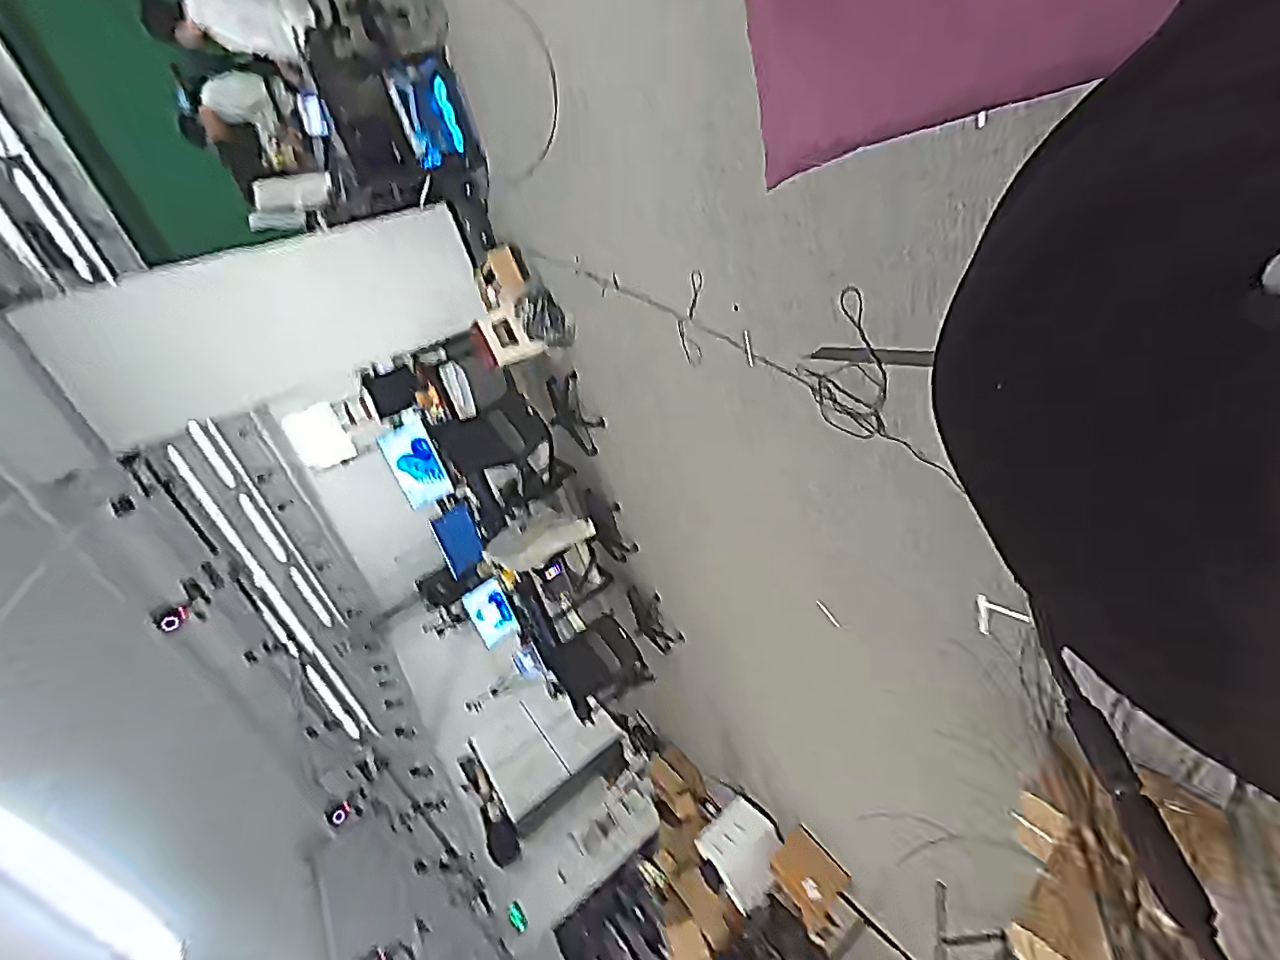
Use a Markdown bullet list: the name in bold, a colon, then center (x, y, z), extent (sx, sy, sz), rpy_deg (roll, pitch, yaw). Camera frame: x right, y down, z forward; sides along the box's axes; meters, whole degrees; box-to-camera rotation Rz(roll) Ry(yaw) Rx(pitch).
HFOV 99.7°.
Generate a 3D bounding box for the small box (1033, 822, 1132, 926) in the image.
- **small box**: center (1.265, 1.145, 1.560), extent (0.179, 0.176, 0.168), rpy_deg (32, 143, 46)

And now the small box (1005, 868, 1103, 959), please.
- **small box**: center (1.145, 1.234, 1.494), extent (0.168, 0.176, 0.179), rpy_deg (14, 130, 58)
